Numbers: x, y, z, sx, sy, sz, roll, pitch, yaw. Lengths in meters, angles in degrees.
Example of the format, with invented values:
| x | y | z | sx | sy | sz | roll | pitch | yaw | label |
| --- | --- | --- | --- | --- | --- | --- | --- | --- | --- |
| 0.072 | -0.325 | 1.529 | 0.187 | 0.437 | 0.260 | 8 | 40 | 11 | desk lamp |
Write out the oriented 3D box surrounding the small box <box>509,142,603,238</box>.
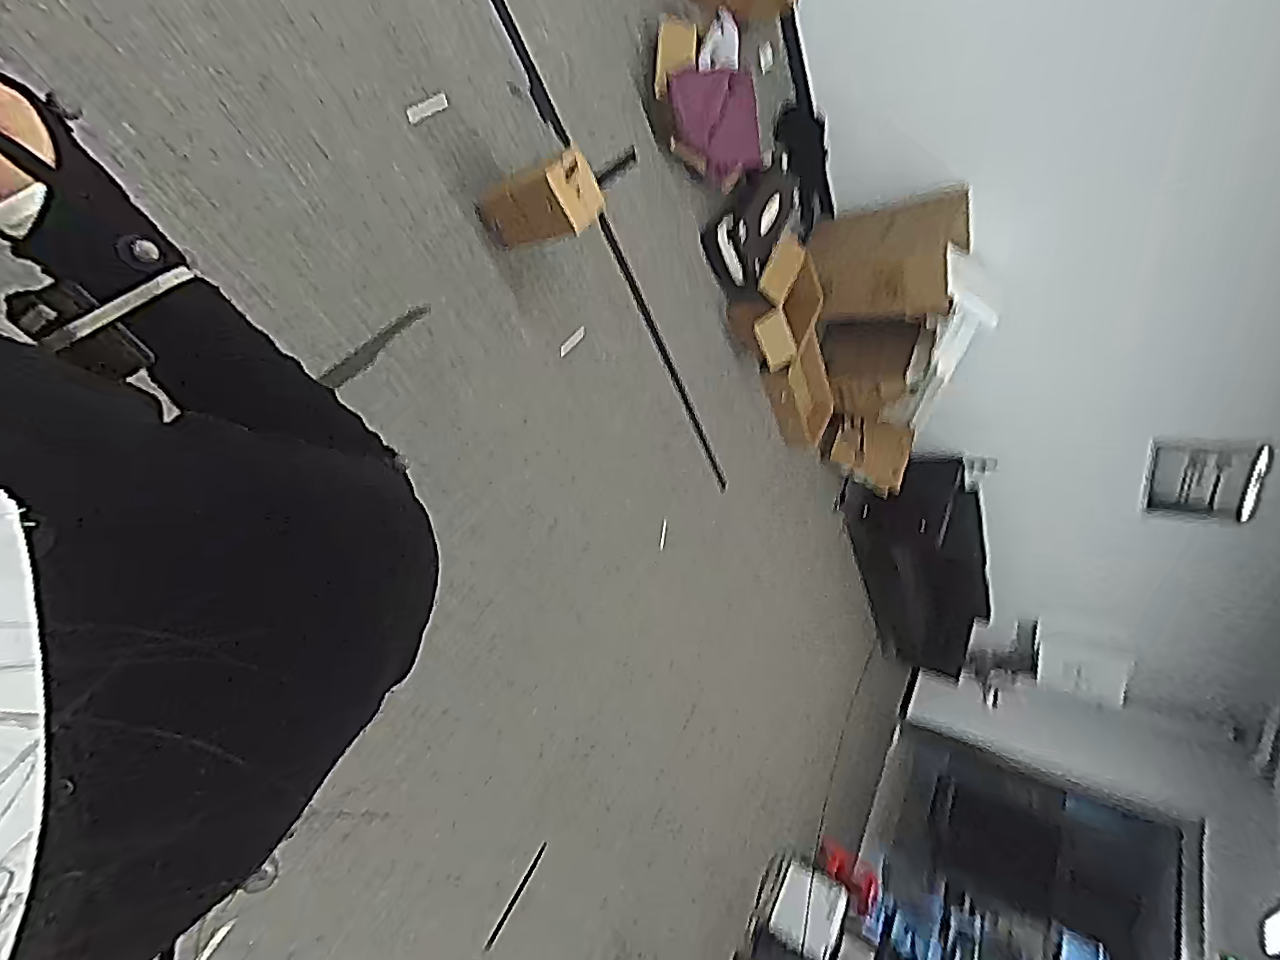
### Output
| x | y | z | sx | sy | sz | roll | pitch | yaw | label |
| --- | --- | --- | --- | --- | --- | --- | --- | --- | --- |
| -0.247 | -0.840 | 1.580 | 0.168 | 0.176 | 0.179 | -58 | 134 | -26 | small box |

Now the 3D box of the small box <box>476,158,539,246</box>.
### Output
| x | y | z | sx | sy | sz | roll | pitch | yaw | label |
| --- | --- | --- | --- | --- | --- | --- | --- | --- | --- |
| -0.375 | -0.859 | 1.681 | 0.168 | 0.176 | 0.179 | 52 | 59 | -39 | small box |
